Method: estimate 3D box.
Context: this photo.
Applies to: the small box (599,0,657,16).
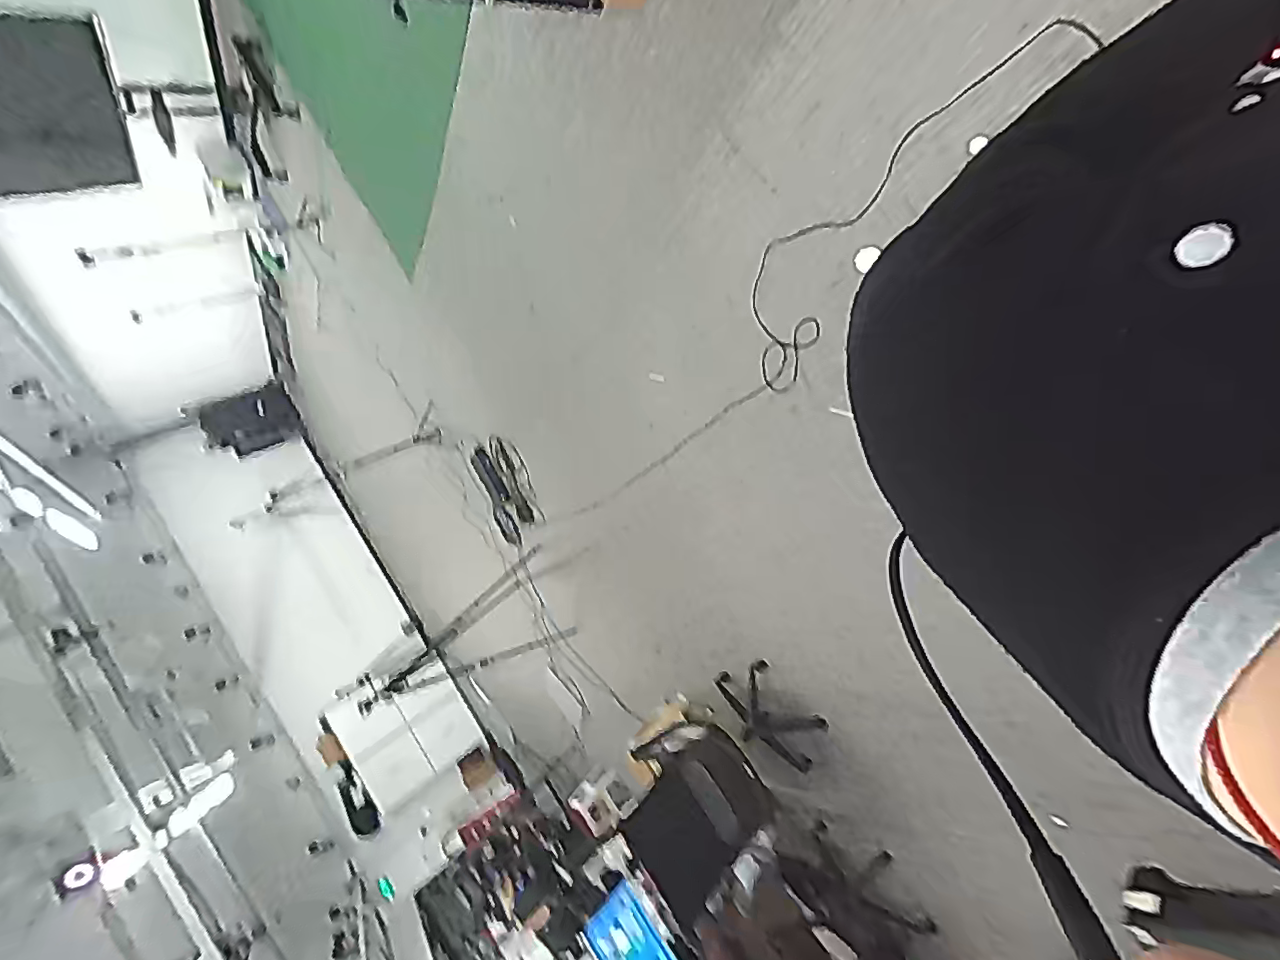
[{"bbox_3d":[-0.040,-1.505,1.583,0.179,0.176,0.168,56,146,3],"label":"small box"}]
